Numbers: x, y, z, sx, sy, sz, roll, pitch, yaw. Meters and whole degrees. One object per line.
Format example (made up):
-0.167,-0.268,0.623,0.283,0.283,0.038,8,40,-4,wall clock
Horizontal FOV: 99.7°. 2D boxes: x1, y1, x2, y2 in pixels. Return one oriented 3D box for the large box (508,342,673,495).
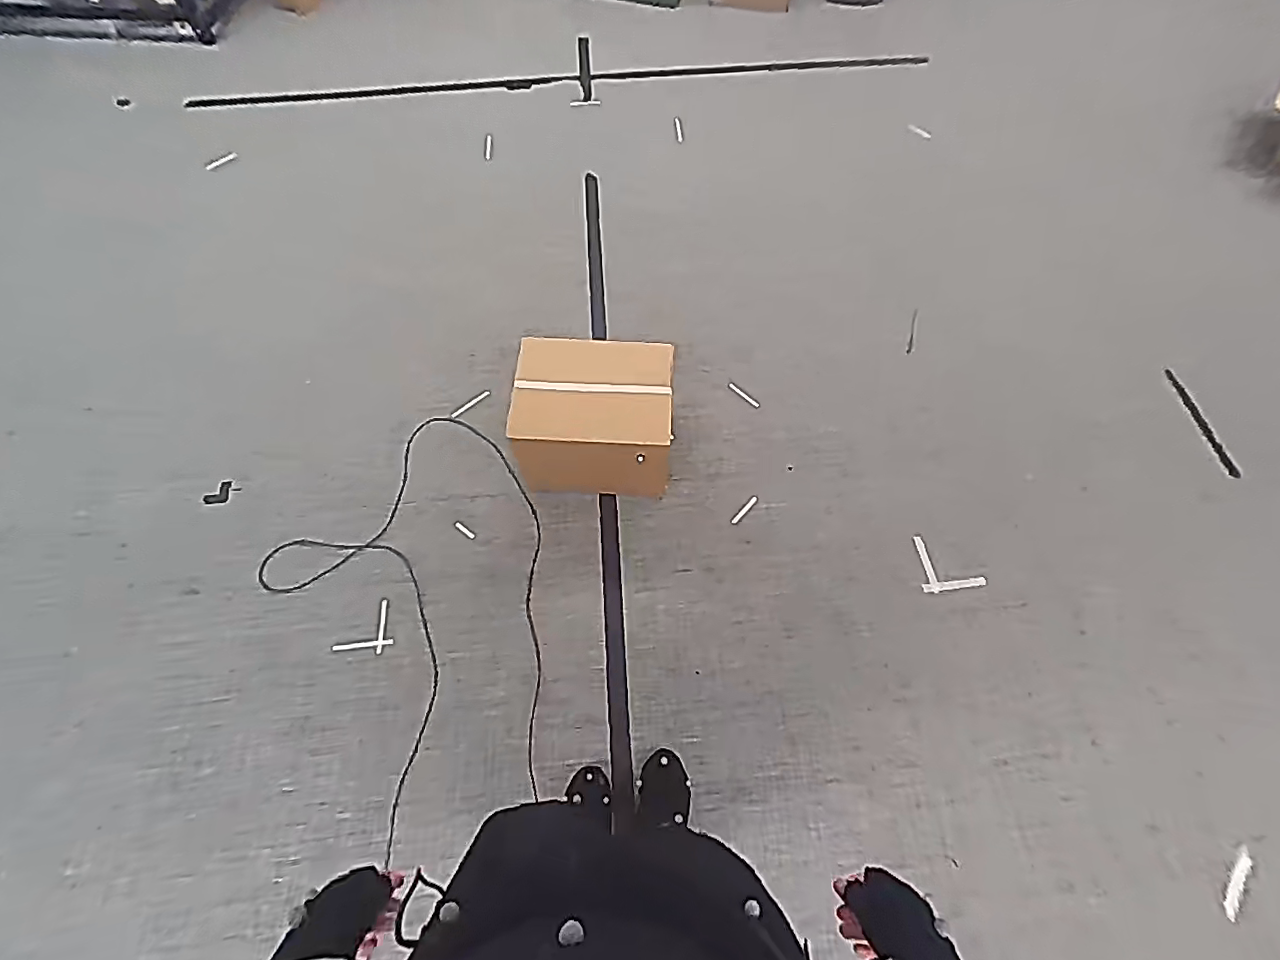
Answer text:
-0.117,-0.159,1.503,0.408,0.320,0.320,3,64,0,large box
